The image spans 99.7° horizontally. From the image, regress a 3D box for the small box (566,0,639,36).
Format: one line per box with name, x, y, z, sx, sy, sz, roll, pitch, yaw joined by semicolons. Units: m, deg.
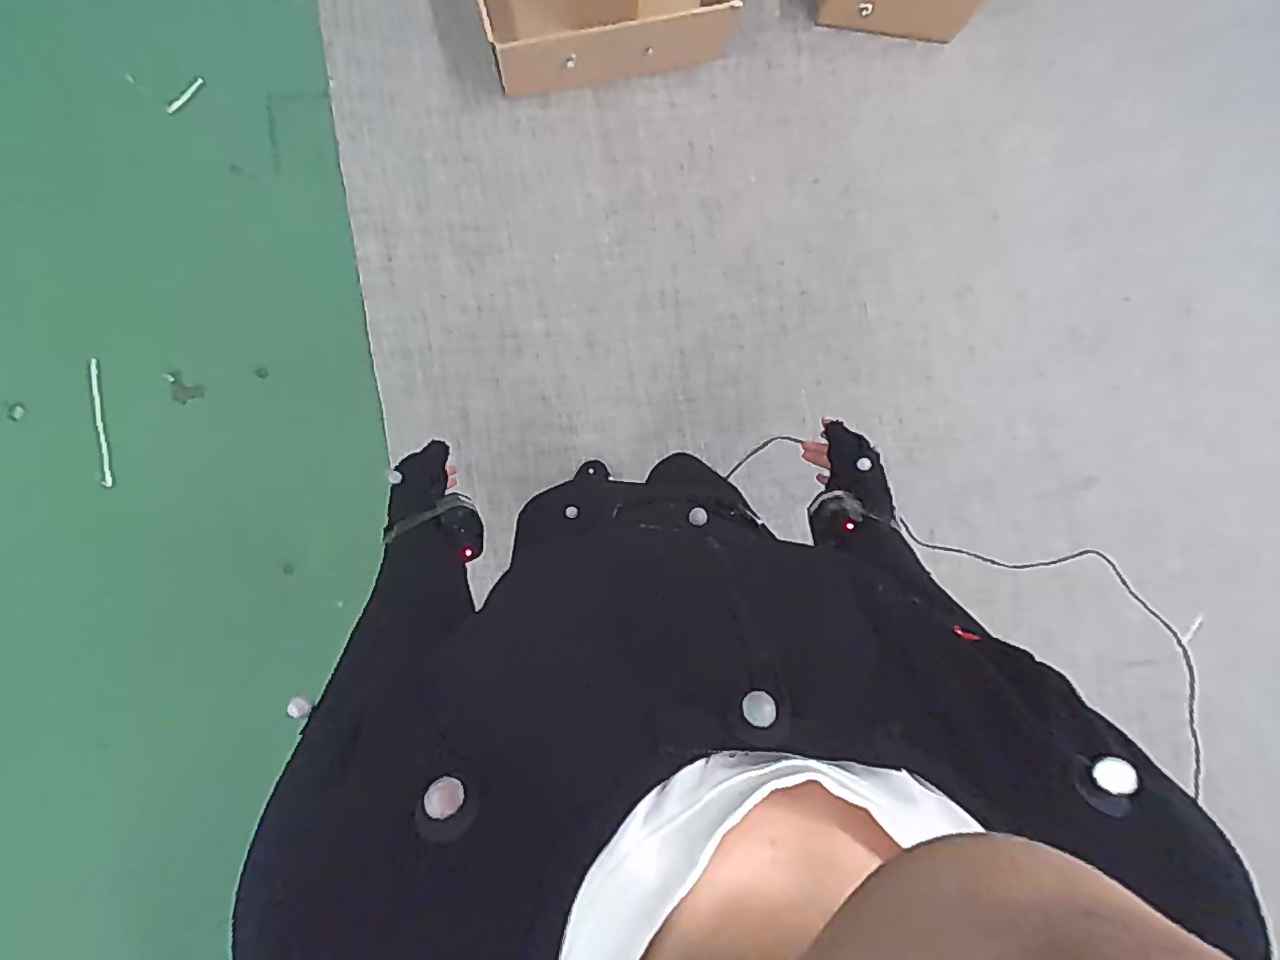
small box;-0.100;-1.234;1.320;0.179;0.176;0.168;-14;93;-7
